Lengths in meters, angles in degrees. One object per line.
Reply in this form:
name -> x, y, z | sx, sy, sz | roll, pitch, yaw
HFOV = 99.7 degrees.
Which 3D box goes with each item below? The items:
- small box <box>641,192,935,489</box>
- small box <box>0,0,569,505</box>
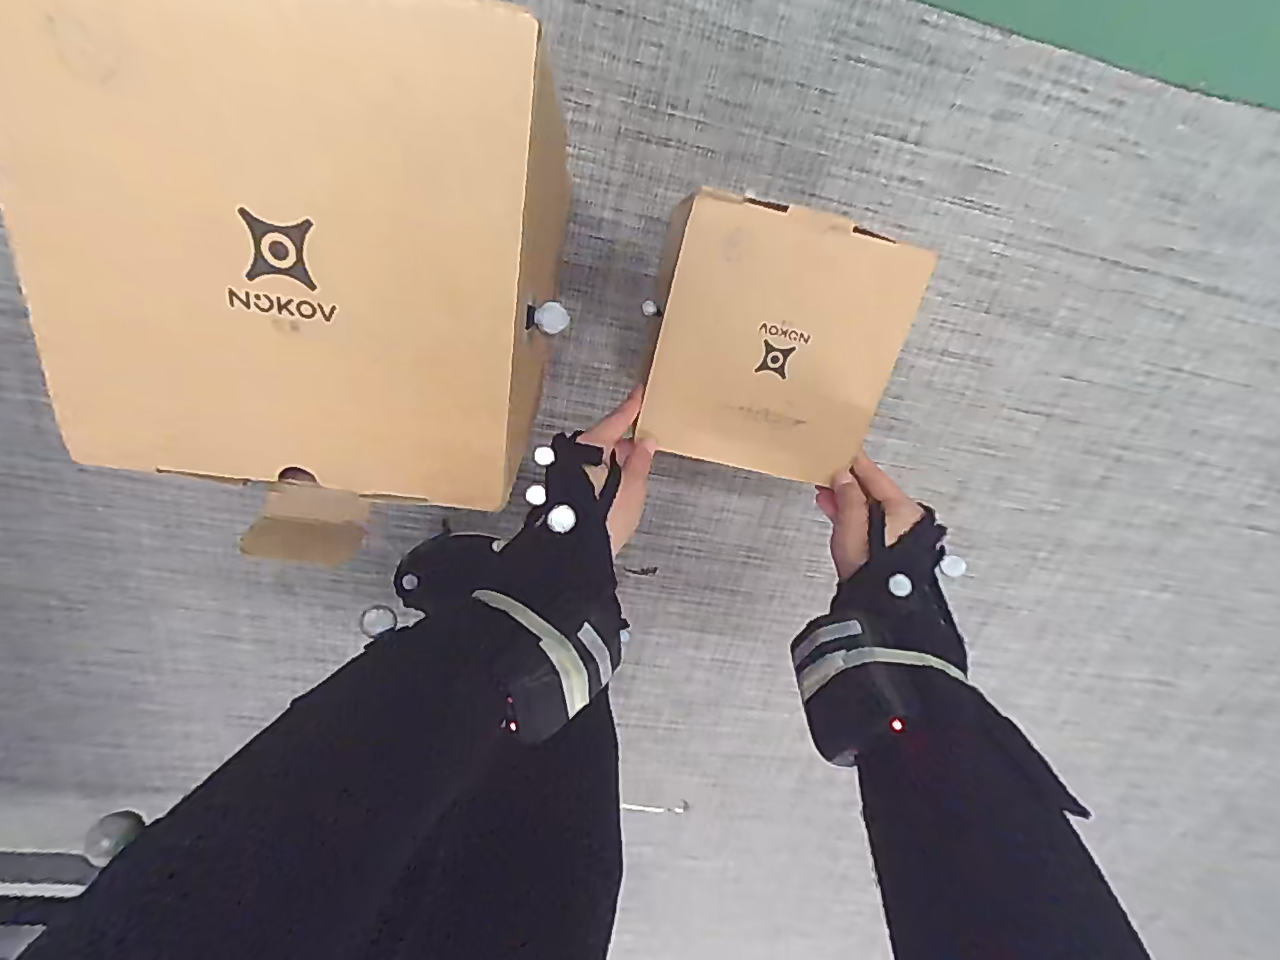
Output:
small box -> 0.096, -0.117, 0.451 | 0.168, 0.176, 0.179 | 12, 112, -5
small box -> -0.126, -0.108, 0.265 | 0.168, 0.176, 0.179 | 7, 113, -8
